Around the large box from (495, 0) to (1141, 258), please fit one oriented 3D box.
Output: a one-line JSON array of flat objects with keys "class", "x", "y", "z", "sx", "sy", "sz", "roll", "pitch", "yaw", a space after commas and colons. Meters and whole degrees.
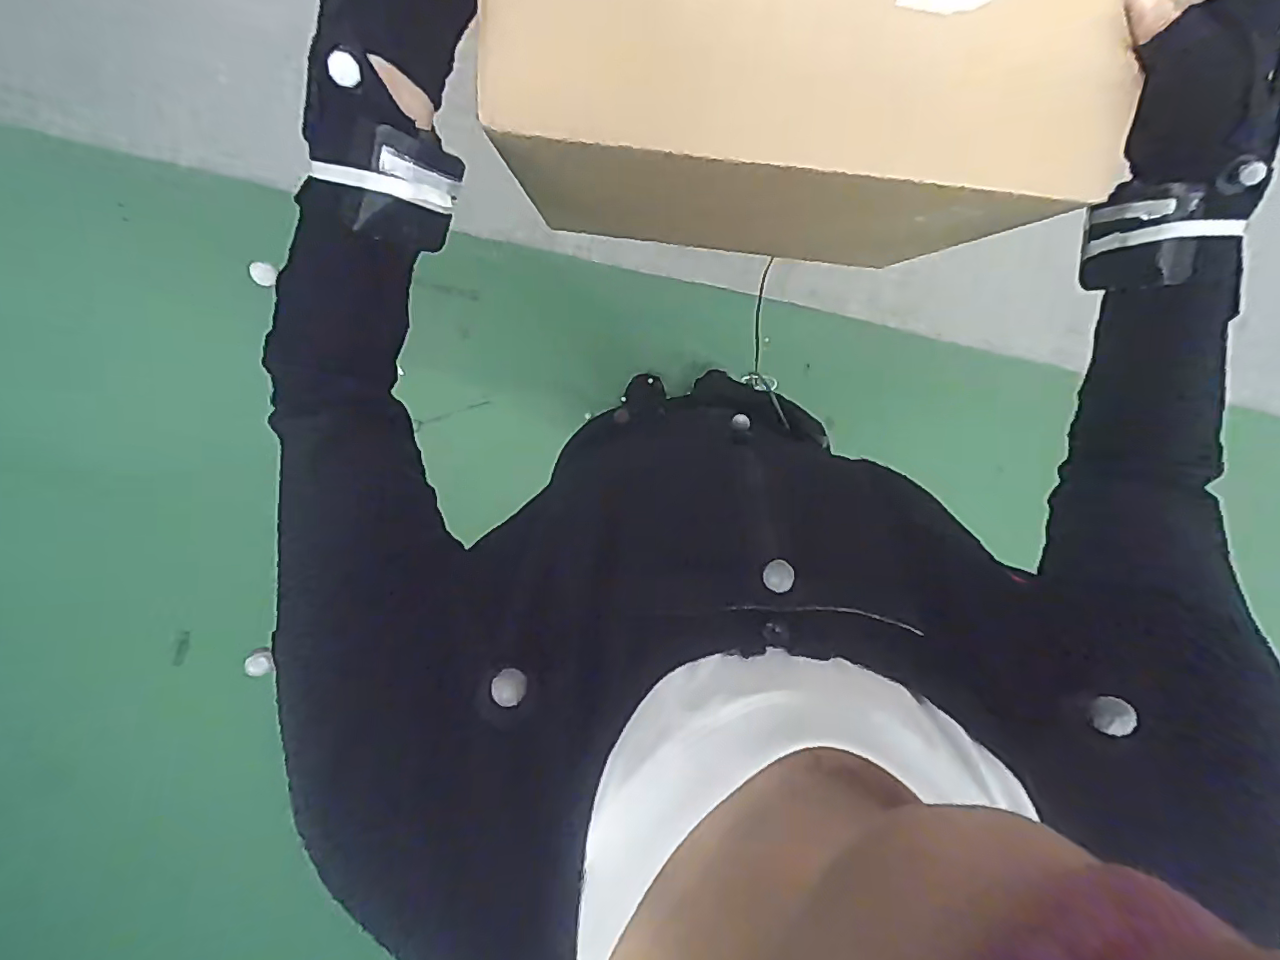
[{"class": "large box", "x": 0.111, "y": -0.391, "z": 0.461, "sx": 0.408, "sy": 0.320, "sz": 0.320, "roll": 5, "pitch": 105, "yaw": -3}]
